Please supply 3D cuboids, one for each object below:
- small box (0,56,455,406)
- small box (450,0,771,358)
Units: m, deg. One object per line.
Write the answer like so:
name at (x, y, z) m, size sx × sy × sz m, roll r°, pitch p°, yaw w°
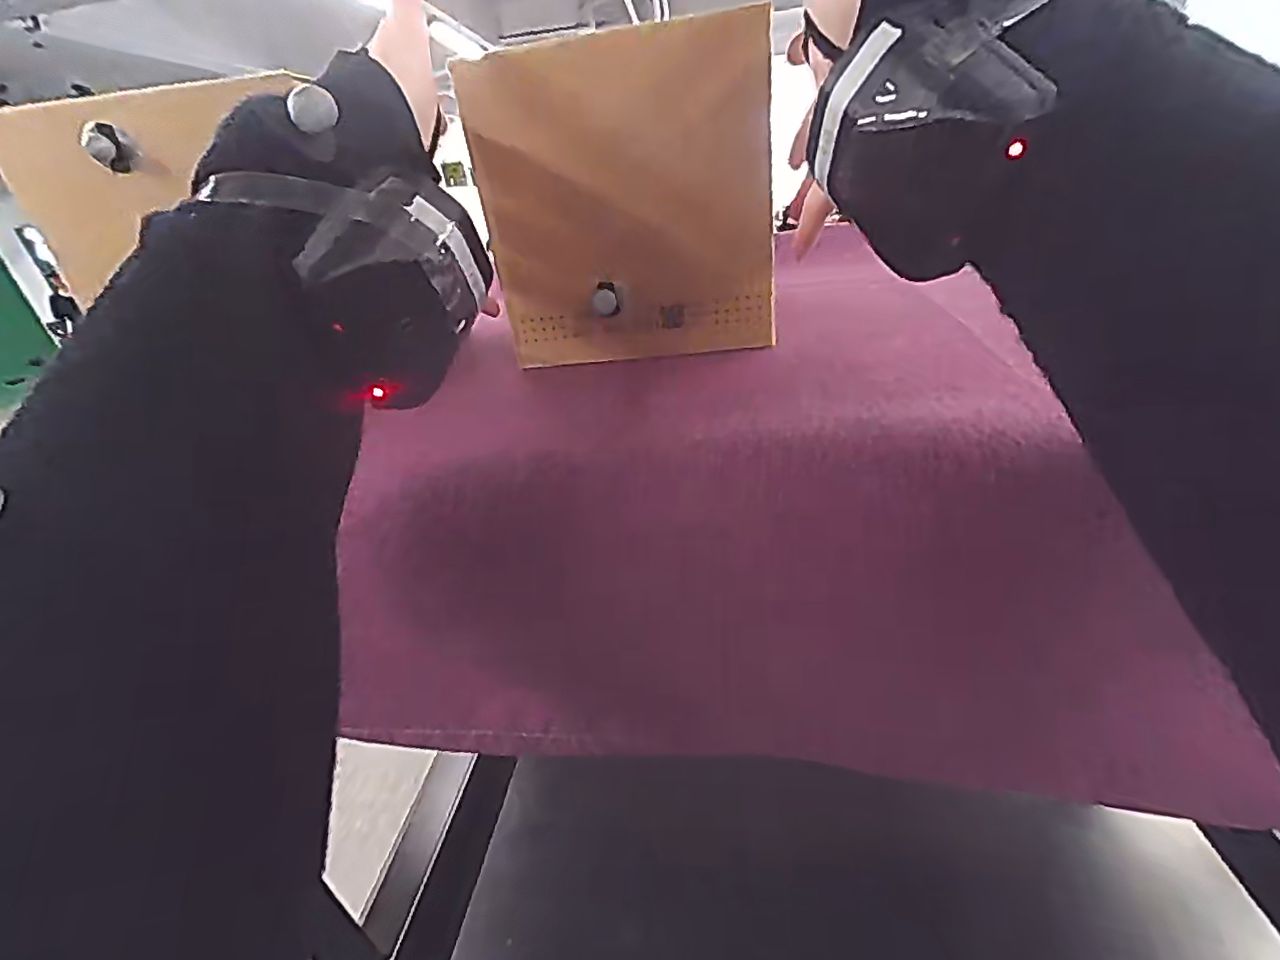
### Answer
small box at (-0.246, -0.162, 0.378) m, size 0.168 × 0.176 × 0.179 m, roll -8°, pitch 27°, yaw 2°
small box at (-0.001, -0.192, 0.376) m, size 0.168 × 0.176 × 0.179 m, roll -4°, pitch 29°, yaw 8°
